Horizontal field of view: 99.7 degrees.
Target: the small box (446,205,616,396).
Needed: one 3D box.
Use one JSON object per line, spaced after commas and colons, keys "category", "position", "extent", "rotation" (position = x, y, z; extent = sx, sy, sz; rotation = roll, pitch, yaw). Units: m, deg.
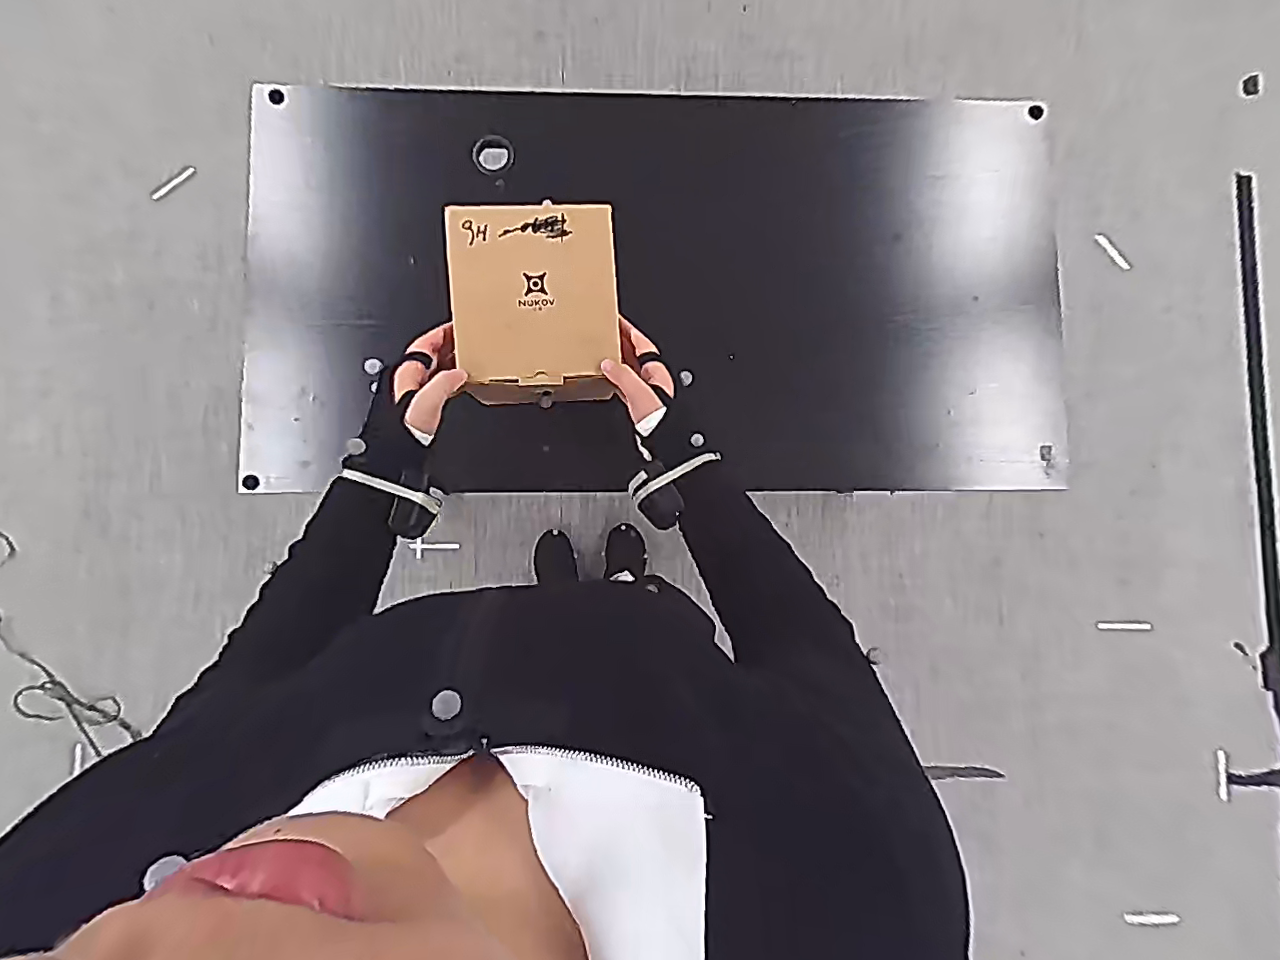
{"category": "small box", "position": [-0.117, -0.193, 0.629], "extent": [0.168, 0.176, 0.179], "rotation": [-4, 92, -6]}
